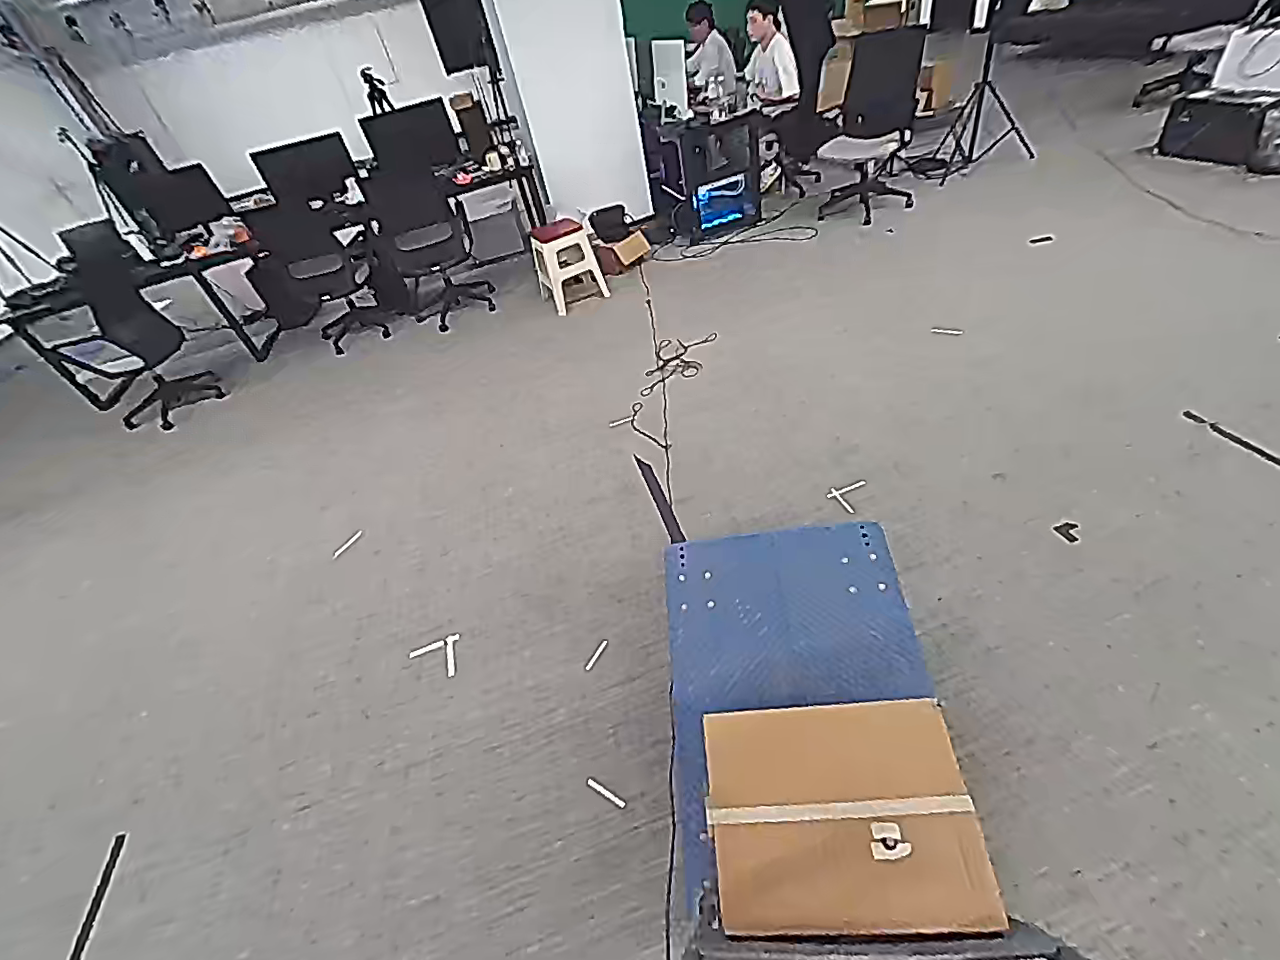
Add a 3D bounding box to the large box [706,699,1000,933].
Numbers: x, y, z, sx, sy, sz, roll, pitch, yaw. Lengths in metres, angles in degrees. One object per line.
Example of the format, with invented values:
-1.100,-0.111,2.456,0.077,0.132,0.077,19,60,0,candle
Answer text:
0.347,0.615,1.008,0.408,0.320,0.320,-7,58,8,large box
